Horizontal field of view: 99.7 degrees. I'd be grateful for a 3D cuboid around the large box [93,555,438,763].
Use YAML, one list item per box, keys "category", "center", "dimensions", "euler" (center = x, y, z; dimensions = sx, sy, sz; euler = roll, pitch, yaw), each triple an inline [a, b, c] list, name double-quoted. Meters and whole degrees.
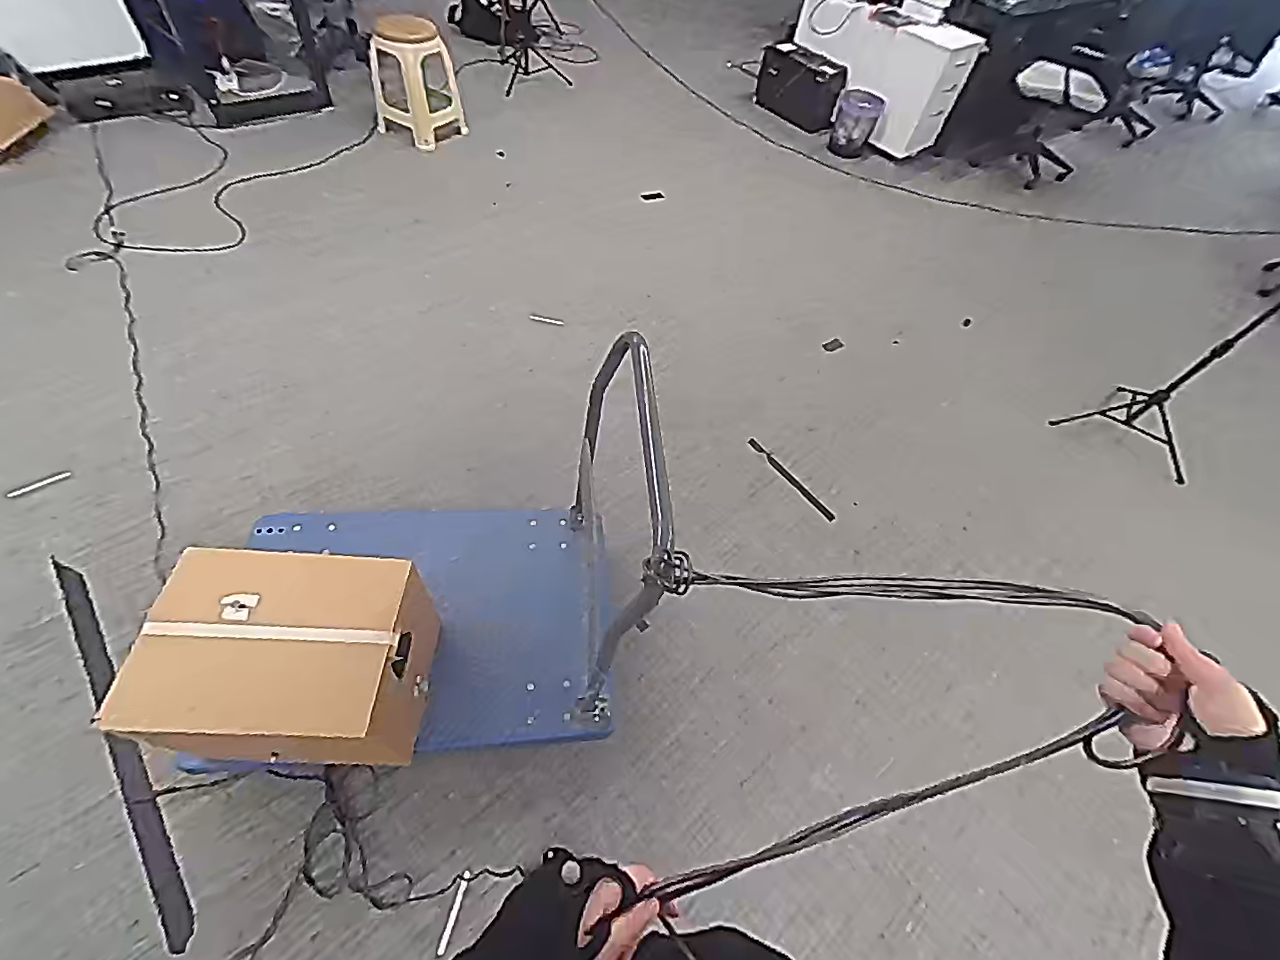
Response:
- category: "large box"
  center: [-0.643, 0.354, 1.035]
  dimensions: [0.408, 0.320, 0.320]
  euler: [3, 54, -5]
